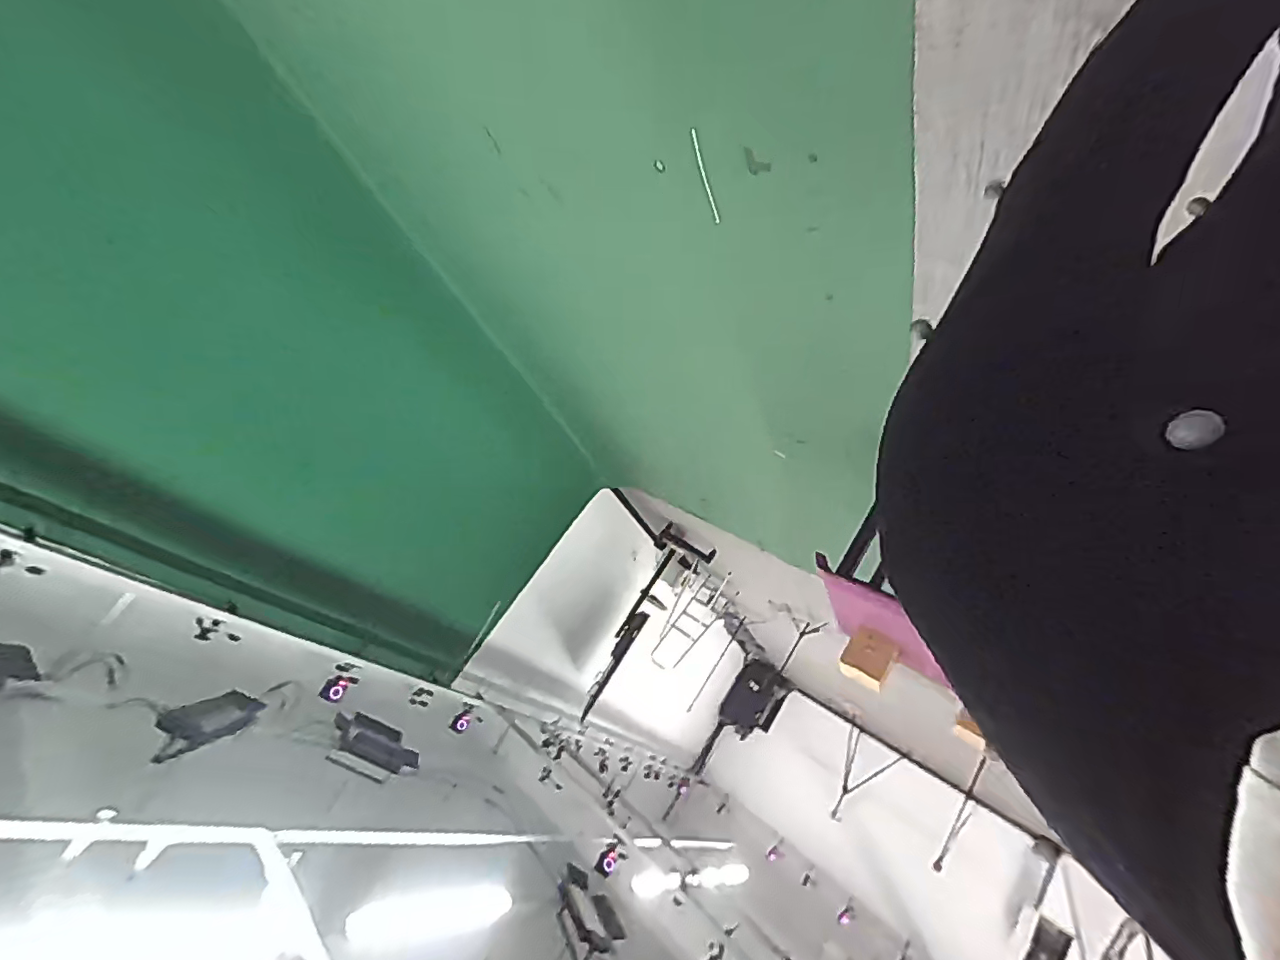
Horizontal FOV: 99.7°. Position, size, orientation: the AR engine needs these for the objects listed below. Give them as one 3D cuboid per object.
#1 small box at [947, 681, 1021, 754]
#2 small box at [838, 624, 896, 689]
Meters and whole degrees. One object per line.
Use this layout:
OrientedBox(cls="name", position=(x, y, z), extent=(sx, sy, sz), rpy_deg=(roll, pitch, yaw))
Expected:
OrientedBox(cls="small box", position=(1.236, 0.850, 1.943), extent=(0.168, 0.176, 0.179), rpy_deg=(26, 162, 34))
OrientedBox(cls="small box", position=(0.921, 0.712, 2.196), extent=(0.168, 0.176, 0.179), rpy_deg=(25, 159, 35))
